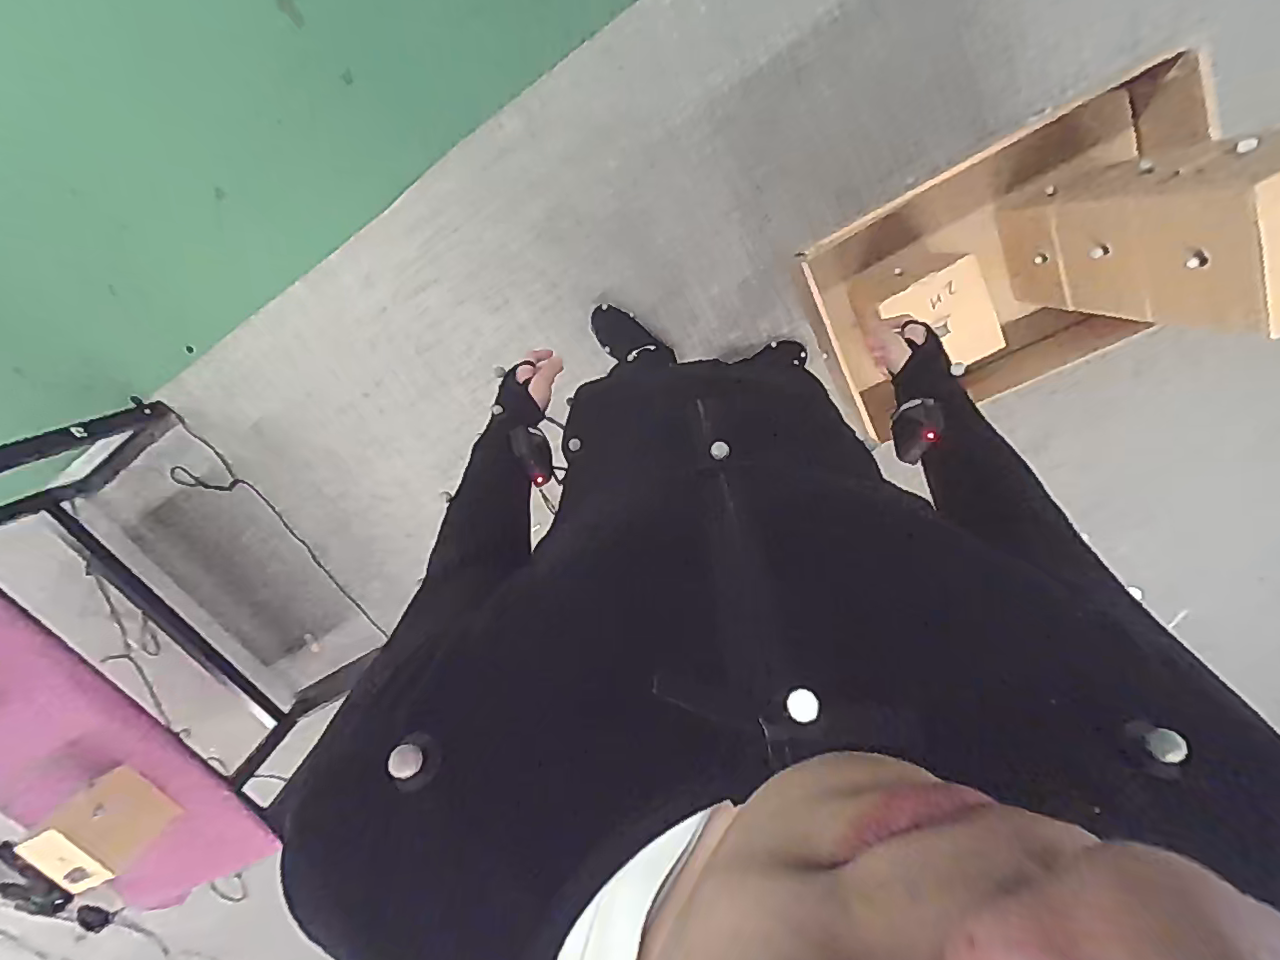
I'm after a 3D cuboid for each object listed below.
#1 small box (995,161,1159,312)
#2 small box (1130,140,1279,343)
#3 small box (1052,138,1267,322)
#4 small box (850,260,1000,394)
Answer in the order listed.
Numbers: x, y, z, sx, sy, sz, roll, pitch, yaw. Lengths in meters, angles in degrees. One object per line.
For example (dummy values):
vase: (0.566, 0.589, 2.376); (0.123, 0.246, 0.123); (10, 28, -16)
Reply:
small box: (0.751, -0.412, 0.935); (0.168, 0.176, 0.179); (-23, 110, 13)
small box: (0.733, -0.285, 0.632); (0.168, 0.176, 0.179); (-24, 108, 14)
small box: (0.744, -0.350, 0.784); (0.168, 0.176, 0.179); (-23, 108, 14)
small box: (0.515, -0.288, 0.996); (0.168, 0.176, 0.179); (-27, 108, 13)
